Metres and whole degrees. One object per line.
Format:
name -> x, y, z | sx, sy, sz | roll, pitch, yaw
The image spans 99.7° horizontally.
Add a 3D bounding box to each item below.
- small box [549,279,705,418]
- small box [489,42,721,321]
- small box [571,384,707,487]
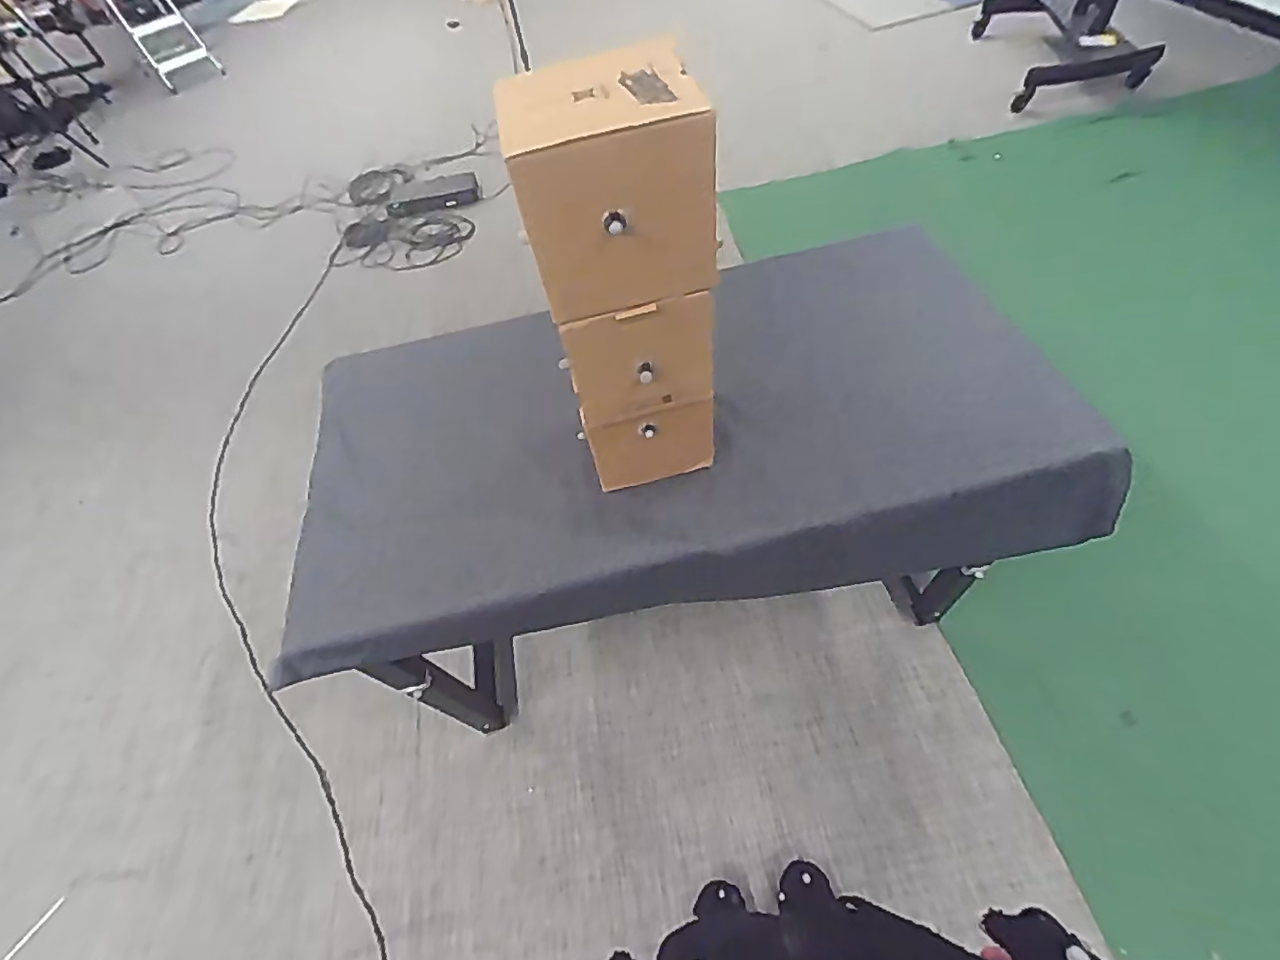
small box -> -0.020, -0.196, 0.669 | 0.168, 0.176, 0.179 | -15, 56, -2
small box -> -0.032, -0.286, 0.531 | 0.179, 0.176, 0.168 | -15, 56, -4
small box -> -0.003, -0.110, 0.807 | 0.179, 0.176, 0.168 | -14, 56, -3
